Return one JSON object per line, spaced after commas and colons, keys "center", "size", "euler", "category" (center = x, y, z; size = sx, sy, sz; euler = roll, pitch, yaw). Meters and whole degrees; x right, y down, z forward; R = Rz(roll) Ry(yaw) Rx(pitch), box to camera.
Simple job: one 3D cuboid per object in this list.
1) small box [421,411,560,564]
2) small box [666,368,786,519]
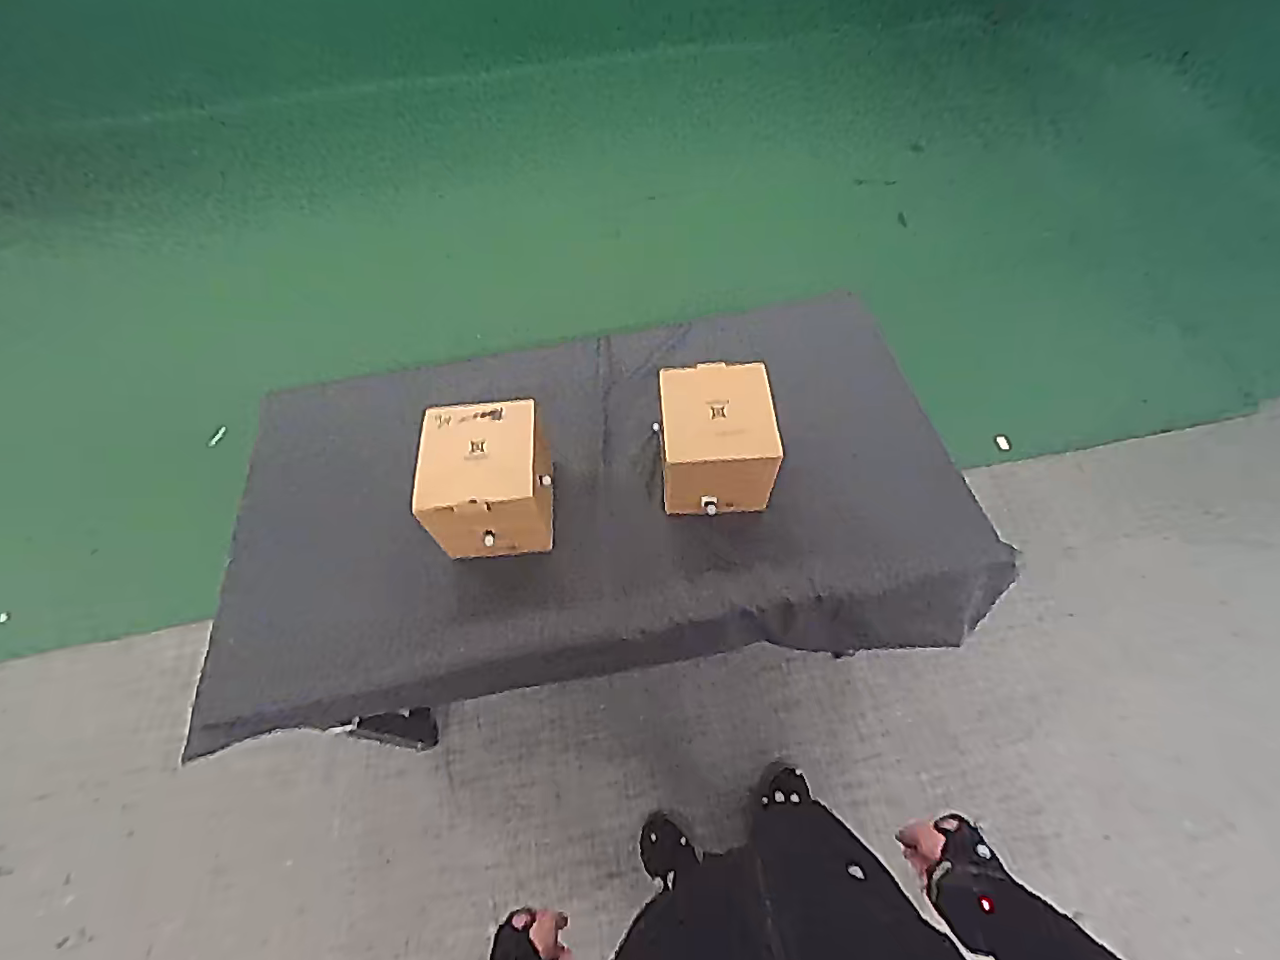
{"center": [-0.222, 0.020, 0.845], "size": [0.168, 0.176, 0.179], "euler": [-8, 58, -1], "category": "small box"}
{"center": [0.124, -0.054, 0.854], "size": [0.168, 0.176, 0.179], "euler": [-3, 58, 3], "category": "small box"}
